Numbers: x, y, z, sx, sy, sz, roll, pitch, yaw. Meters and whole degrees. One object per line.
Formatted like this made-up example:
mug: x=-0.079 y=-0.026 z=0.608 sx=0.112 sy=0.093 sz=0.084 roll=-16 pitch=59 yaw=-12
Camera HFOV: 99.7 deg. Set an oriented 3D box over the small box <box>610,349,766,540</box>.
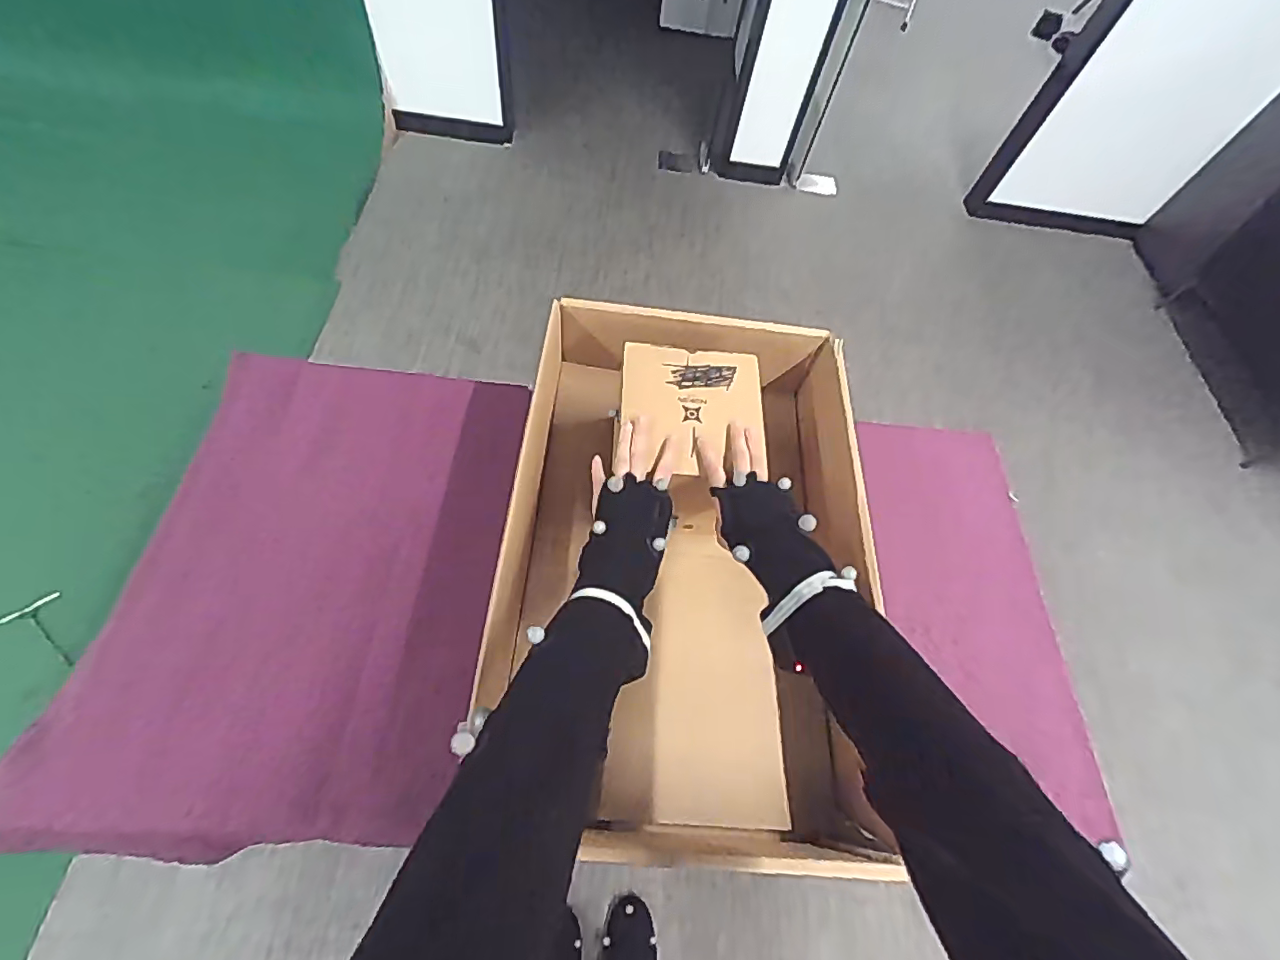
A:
small box: x=0.050 y=-0.038 z=0.689 sx=0.168 sy=0.176 sz=0.179 roll=4 pitch=64 yaw=-5
